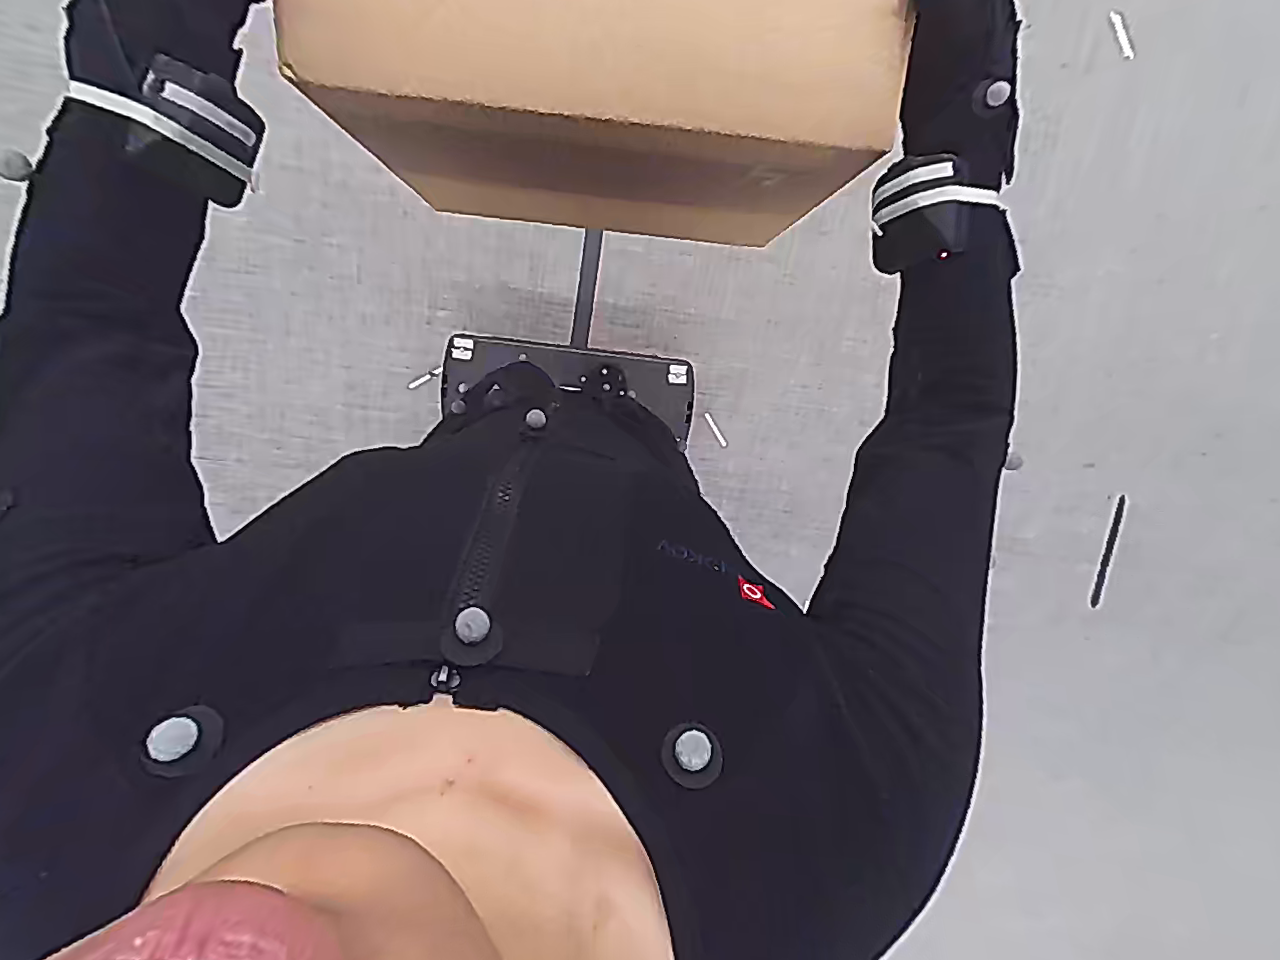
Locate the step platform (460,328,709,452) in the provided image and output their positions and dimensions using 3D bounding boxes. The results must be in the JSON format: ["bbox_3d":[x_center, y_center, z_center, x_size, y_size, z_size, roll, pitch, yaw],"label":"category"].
[{"bbox_3d":[-0.149,-0.250,1.525,0.684,0.204,0.286,5,100,-5],"label":"step platform"}]

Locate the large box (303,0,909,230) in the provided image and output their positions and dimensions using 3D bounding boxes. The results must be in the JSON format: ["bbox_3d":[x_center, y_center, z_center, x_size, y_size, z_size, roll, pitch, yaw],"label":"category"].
[{"bbox_3d":[-0.021,-0.434,0.479,0.408,0.320,0.320,3,103,-5],"label":"large box"}]
